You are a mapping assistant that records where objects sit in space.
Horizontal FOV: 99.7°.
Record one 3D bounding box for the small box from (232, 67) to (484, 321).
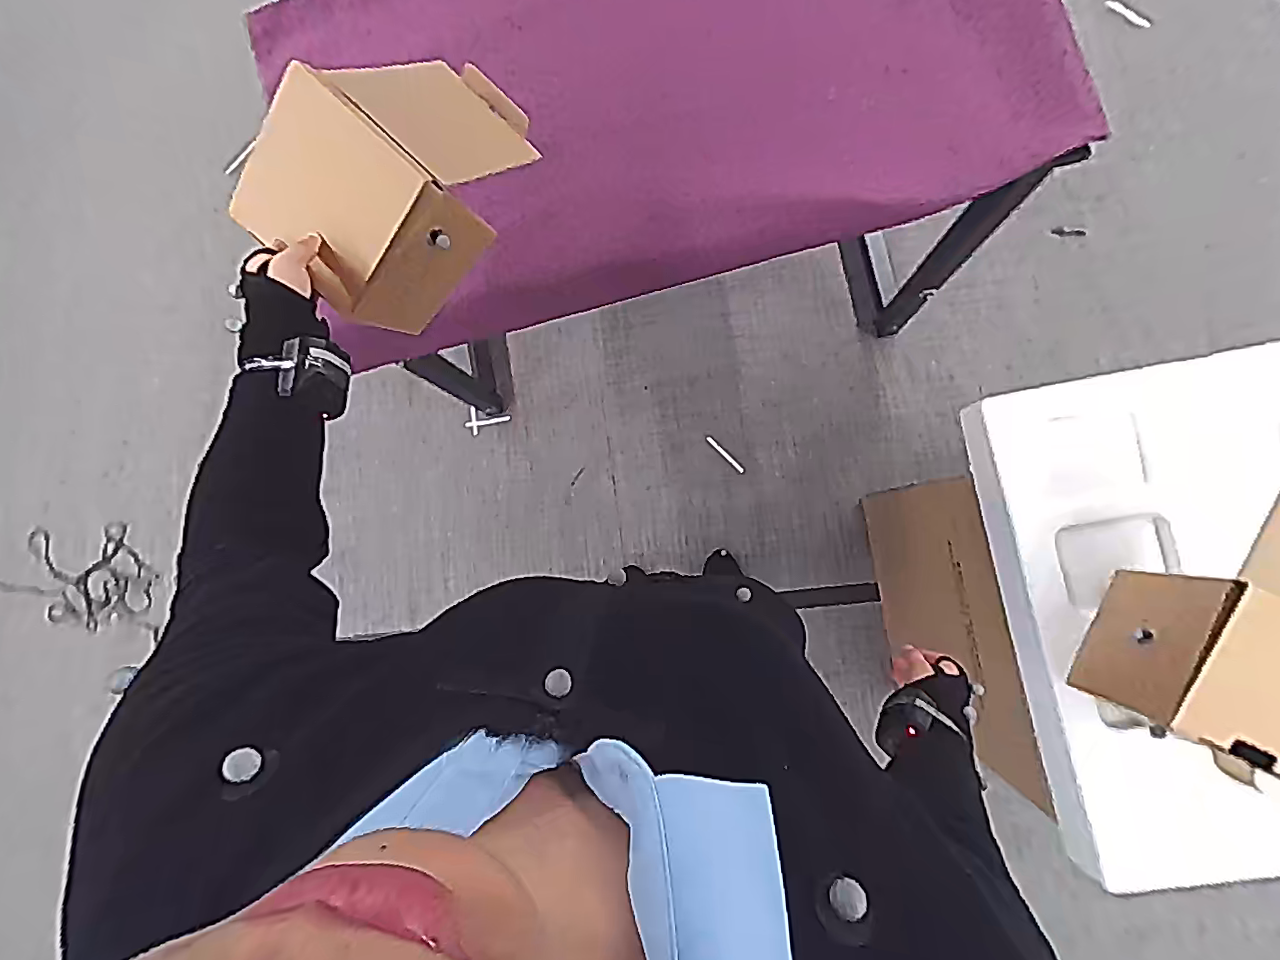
[{"bbox_3d":[-0.309,-0.313,0.637,0.168,0.176,0.179,42,100,-3],"label":"small box"}]
